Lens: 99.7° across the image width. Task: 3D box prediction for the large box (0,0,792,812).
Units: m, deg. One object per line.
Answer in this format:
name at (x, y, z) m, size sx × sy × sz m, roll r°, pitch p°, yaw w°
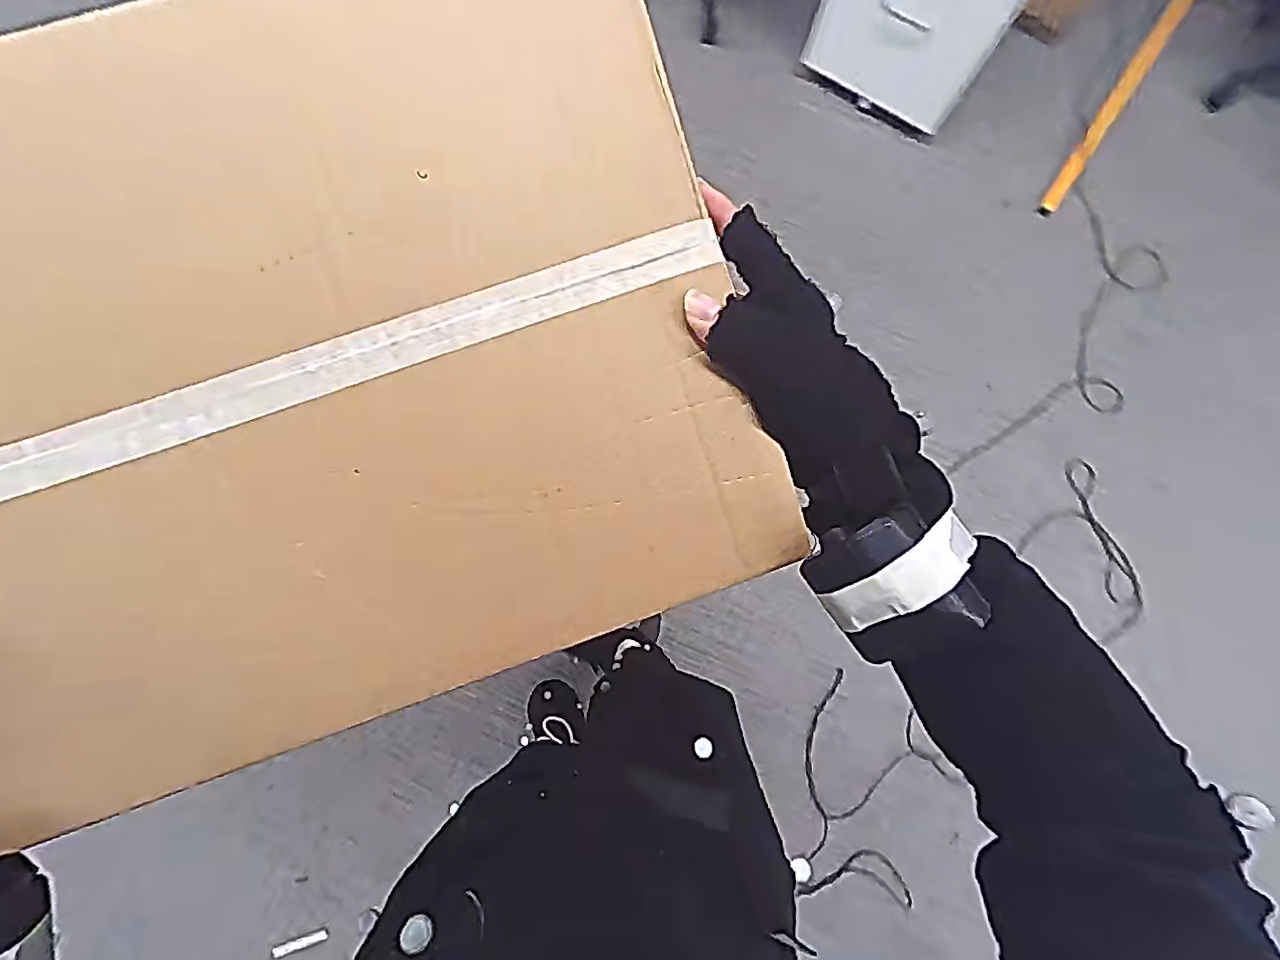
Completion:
large box at (-0.165, -0.063, 0.396) m, size 0.408 × 0.320 × 0.320 m, roll -18°, pitch 96°, yaw -4°
